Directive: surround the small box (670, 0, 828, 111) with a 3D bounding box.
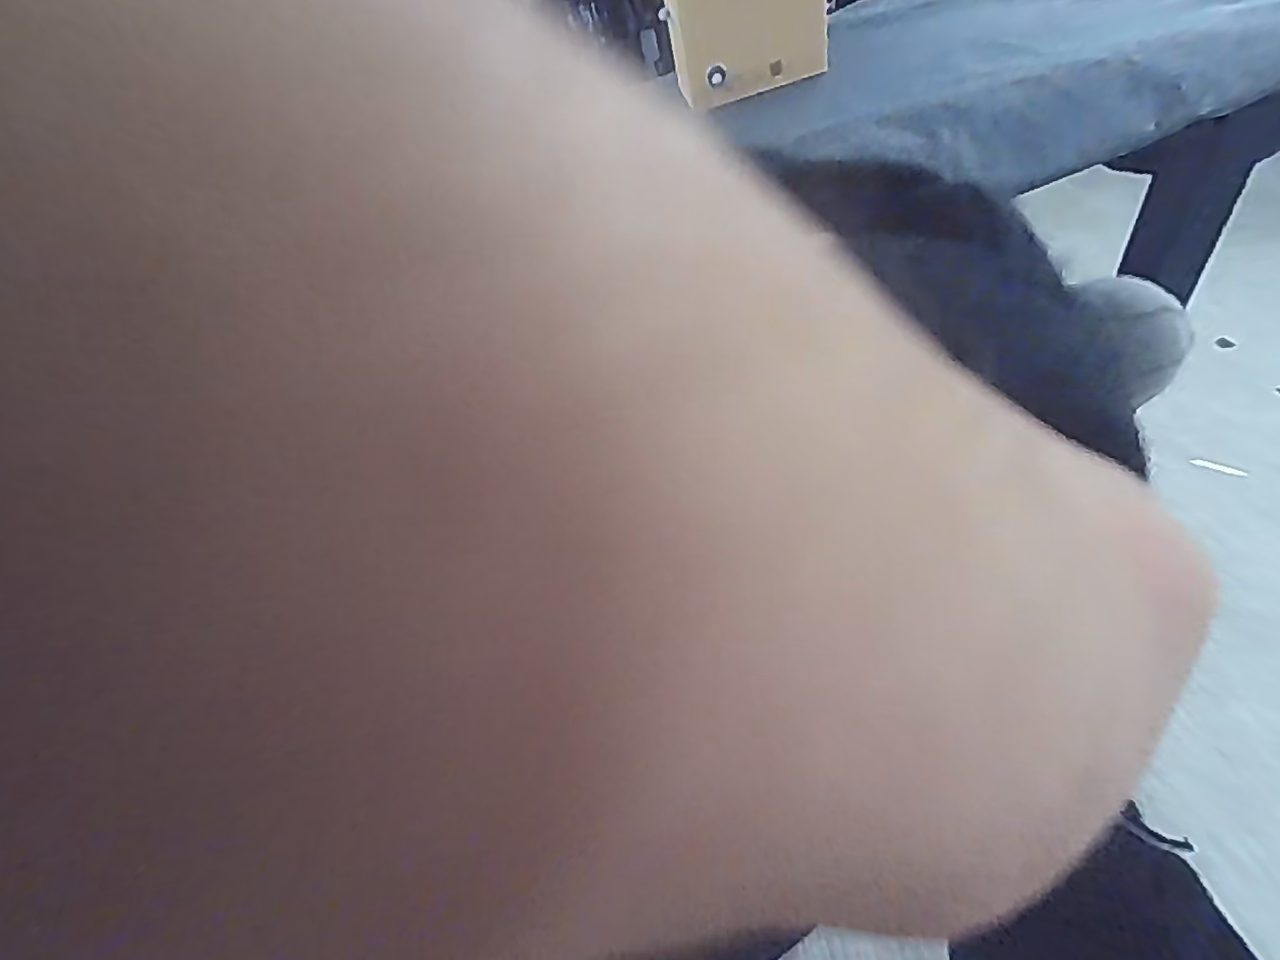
[{"bbox_3d":[0.128,-0.583,0.666,0.168,0.176,0.179,-12,44,8],"label":"small box"}]
